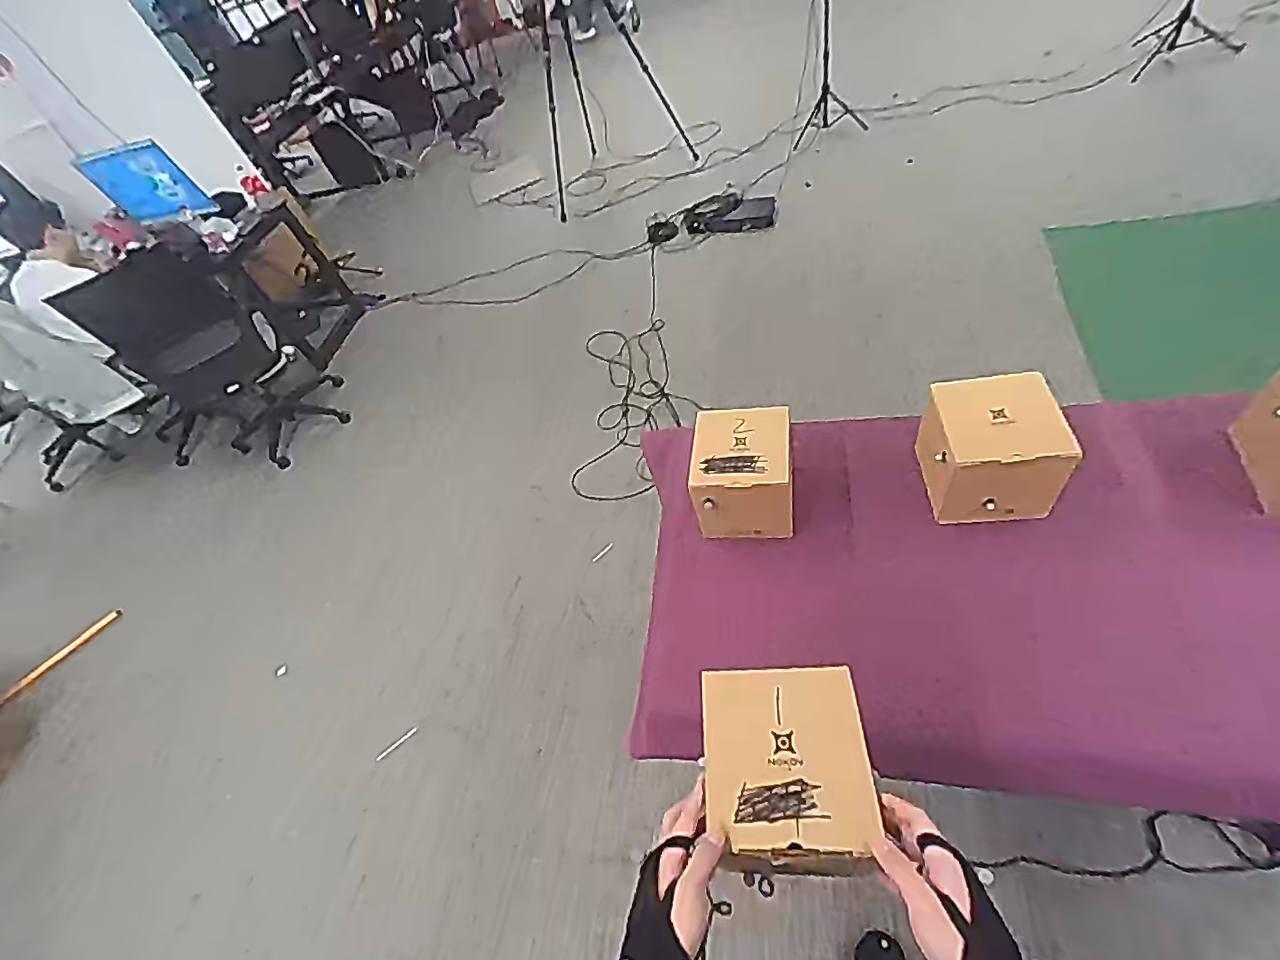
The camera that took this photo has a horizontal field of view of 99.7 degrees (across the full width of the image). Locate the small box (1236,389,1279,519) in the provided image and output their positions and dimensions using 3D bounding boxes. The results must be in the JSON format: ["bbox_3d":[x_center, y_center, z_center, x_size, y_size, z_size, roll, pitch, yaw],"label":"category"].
[{"bbox_3d":[1.011,-0.049,0.761,0.168,0.176,0.179,3,55,21],"label":"small box"}]

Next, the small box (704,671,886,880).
[{"bbox_3d":[0.165,0.335,0.612,0.168,0.176,0.179,-6,47,10],"label":"small box"}]

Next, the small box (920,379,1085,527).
[{"bbox_3d":[0.581,-0.041,0.898,0.168,0.176,0.179,-5,53,14],"label":"small box"}]
